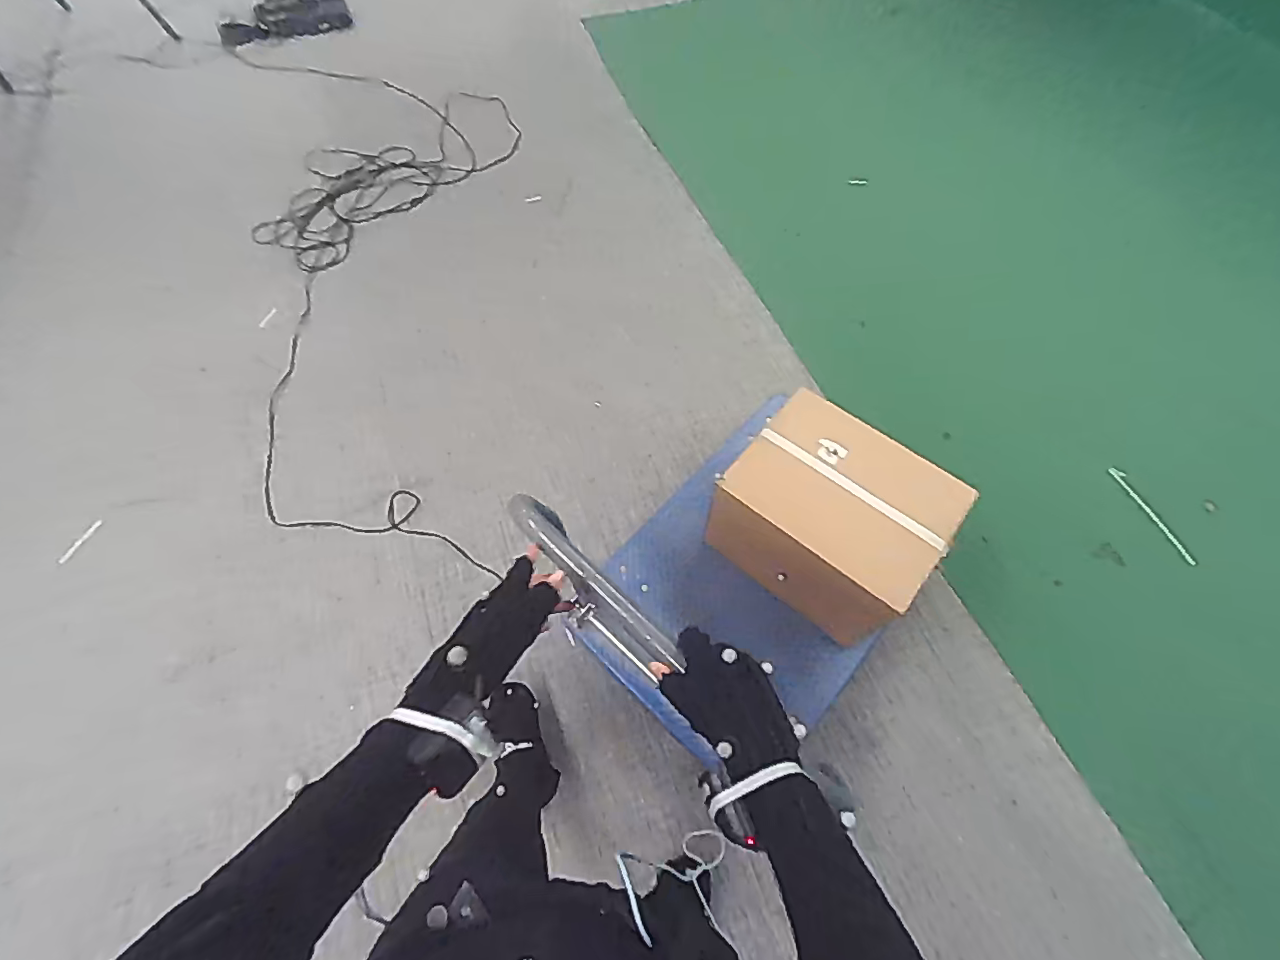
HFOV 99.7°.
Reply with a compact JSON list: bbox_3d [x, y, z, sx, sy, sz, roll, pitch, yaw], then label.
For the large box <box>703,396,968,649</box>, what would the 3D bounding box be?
[{"bbox_3d":[0.393,0.099,1.184,0.408,0.320,0.320,37,68,20],"label":"large box"}]
